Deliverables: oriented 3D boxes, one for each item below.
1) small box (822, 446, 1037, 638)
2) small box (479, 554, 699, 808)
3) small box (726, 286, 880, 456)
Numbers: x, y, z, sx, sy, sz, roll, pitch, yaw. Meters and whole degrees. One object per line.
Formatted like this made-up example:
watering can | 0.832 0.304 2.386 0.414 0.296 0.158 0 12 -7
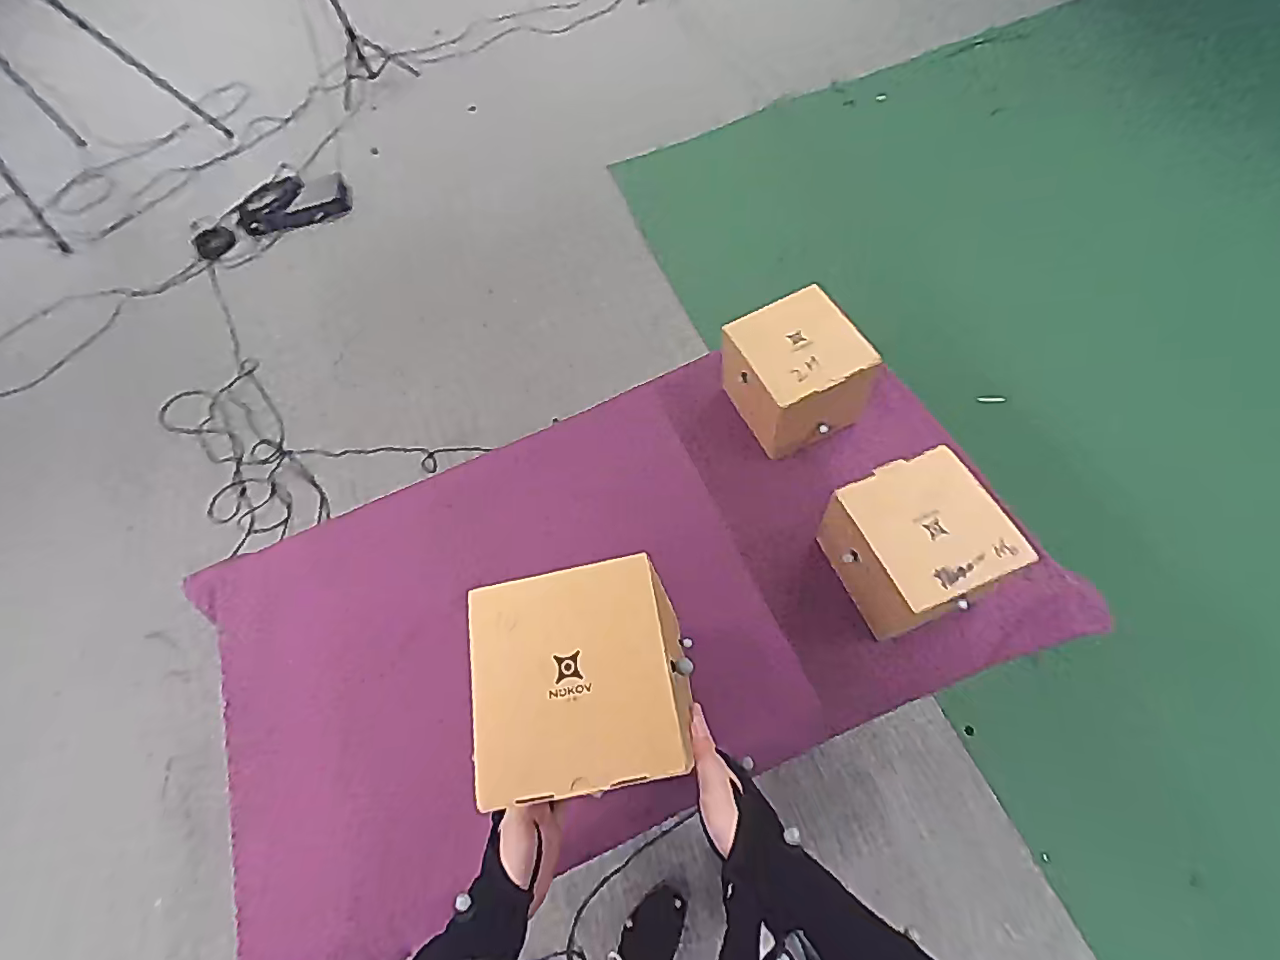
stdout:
small box | 0.369 0.090 0.733 0.168 0.176 0.179 -23 60 -3
small box | -0.041 0.188 0.512 0.168 0.176 0.179 -12 66 3
small box | 0.250 -0.169 0.877 0.168 0.176 0.179 -26 64 -3
